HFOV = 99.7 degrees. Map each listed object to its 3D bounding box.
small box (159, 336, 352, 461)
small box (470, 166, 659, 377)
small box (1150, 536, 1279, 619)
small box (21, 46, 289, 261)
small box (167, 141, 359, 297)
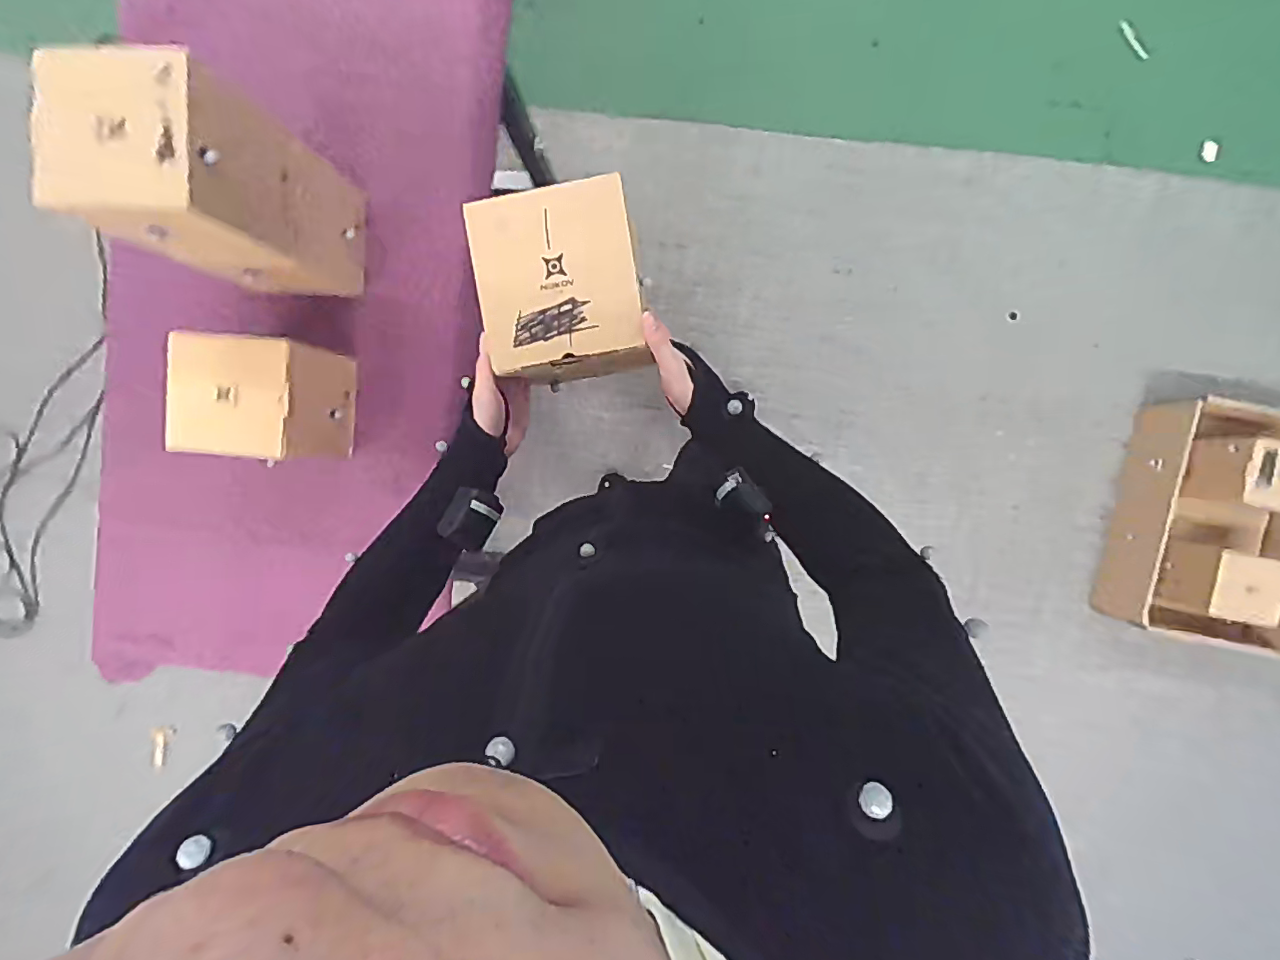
[{"bbox_3d":[-0.577,-0.116,0.827,0.179,0.176,0.168,4,93,1],"label":"small box"},{"bbox_3d":[-0.072,-0.218,0.618,0.168,0.176,0.179,-9,95,4],"label":"small box"},{"bbox_3d":[1.530,0.252,1.434,0.179,0.176,0.168,11,92,2],"label":"small box"},{"bbox_3d":[-0.561,-0.371,0.645,0.179,0.176,0.168,2,94,3],"label":"small box"},{"bbox_3d":[-0.553,-0.380,0.809,0.179,0.176,0.168,3,94,2],"label":"small box"}]
